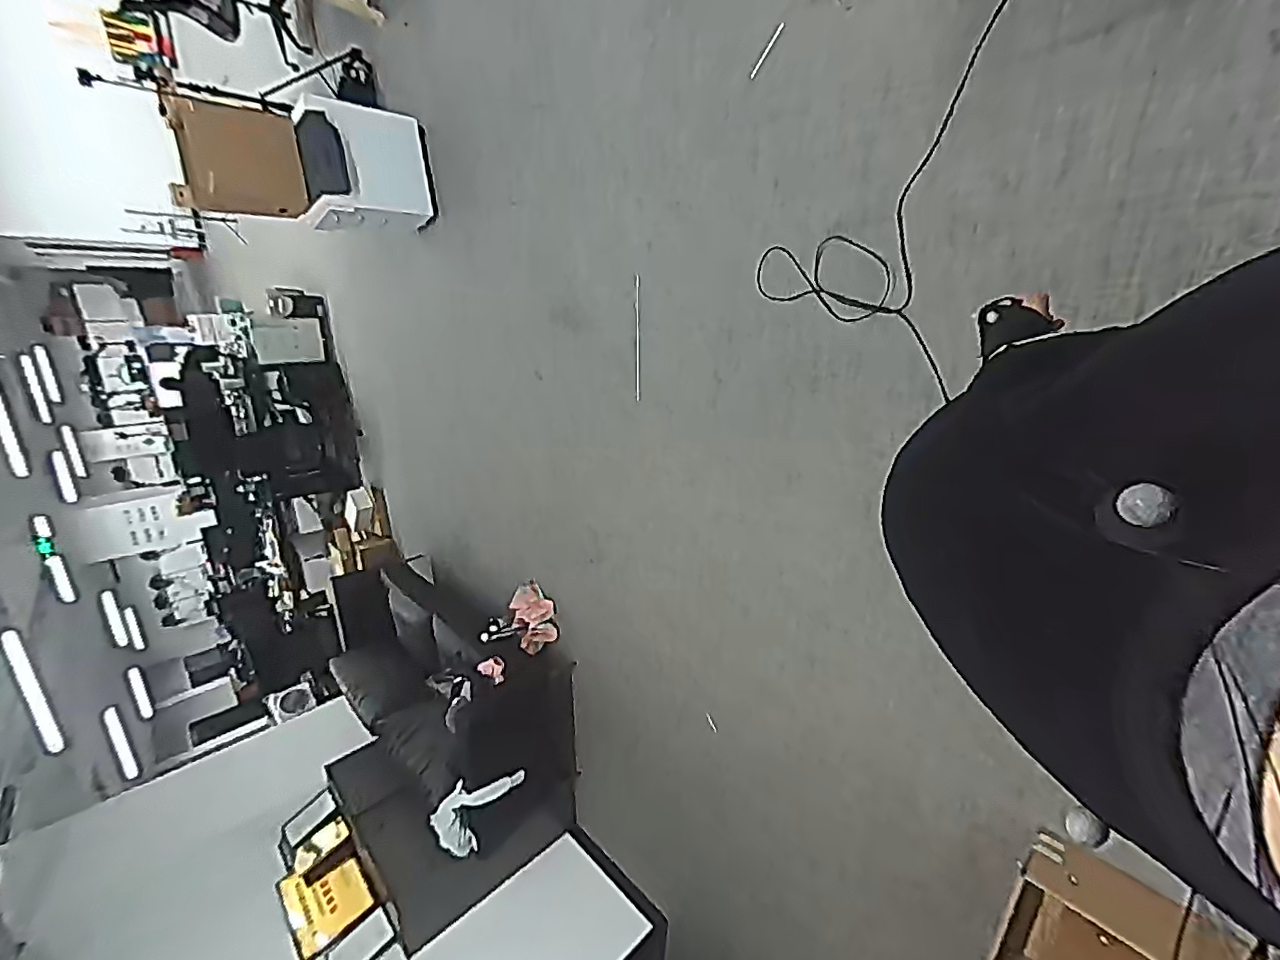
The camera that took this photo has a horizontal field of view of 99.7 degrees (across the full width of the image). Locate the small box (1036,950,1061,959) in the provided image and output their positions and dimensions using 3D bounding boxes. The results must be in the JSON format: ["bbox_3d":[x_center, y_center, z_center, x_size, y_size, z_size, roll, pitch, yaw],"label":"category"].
[{"bbox_3d":[0.956,1.227,1.209,0.168,0.176,0.179,21,116,42],"label":"small box"}]
